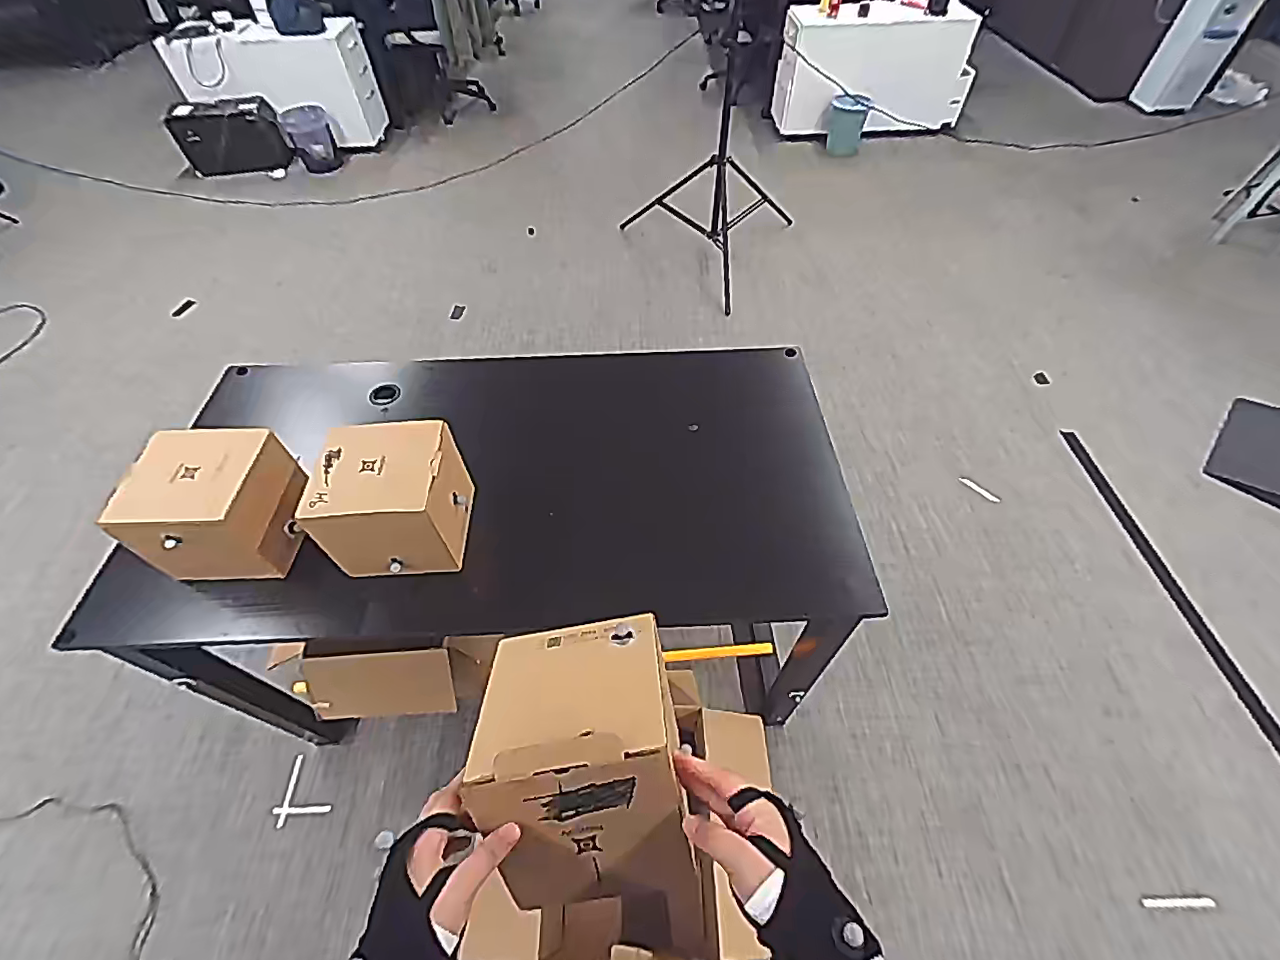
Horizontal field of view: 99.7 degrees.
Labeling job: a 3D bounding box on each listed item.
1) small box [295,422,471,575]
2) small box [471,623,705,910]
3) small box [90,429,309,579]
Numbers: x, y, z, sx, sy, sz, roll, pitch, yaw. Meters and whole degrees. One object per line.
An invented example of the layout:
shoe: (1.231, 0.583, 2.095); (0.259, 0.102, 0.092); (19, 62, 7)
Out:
small box: (-0.367, 0.031, 0.815); (0.179, 0.176, 0.168); (-3, 52, -2)
small box: (-0.043, 0.258, 0.520); (0.168, 0.179, 0.176); (-11, 24, 2)
small box: (-0.630, 0.040, 0.813); (0.179, 0.176, 0.168); (0, 53, 0)
